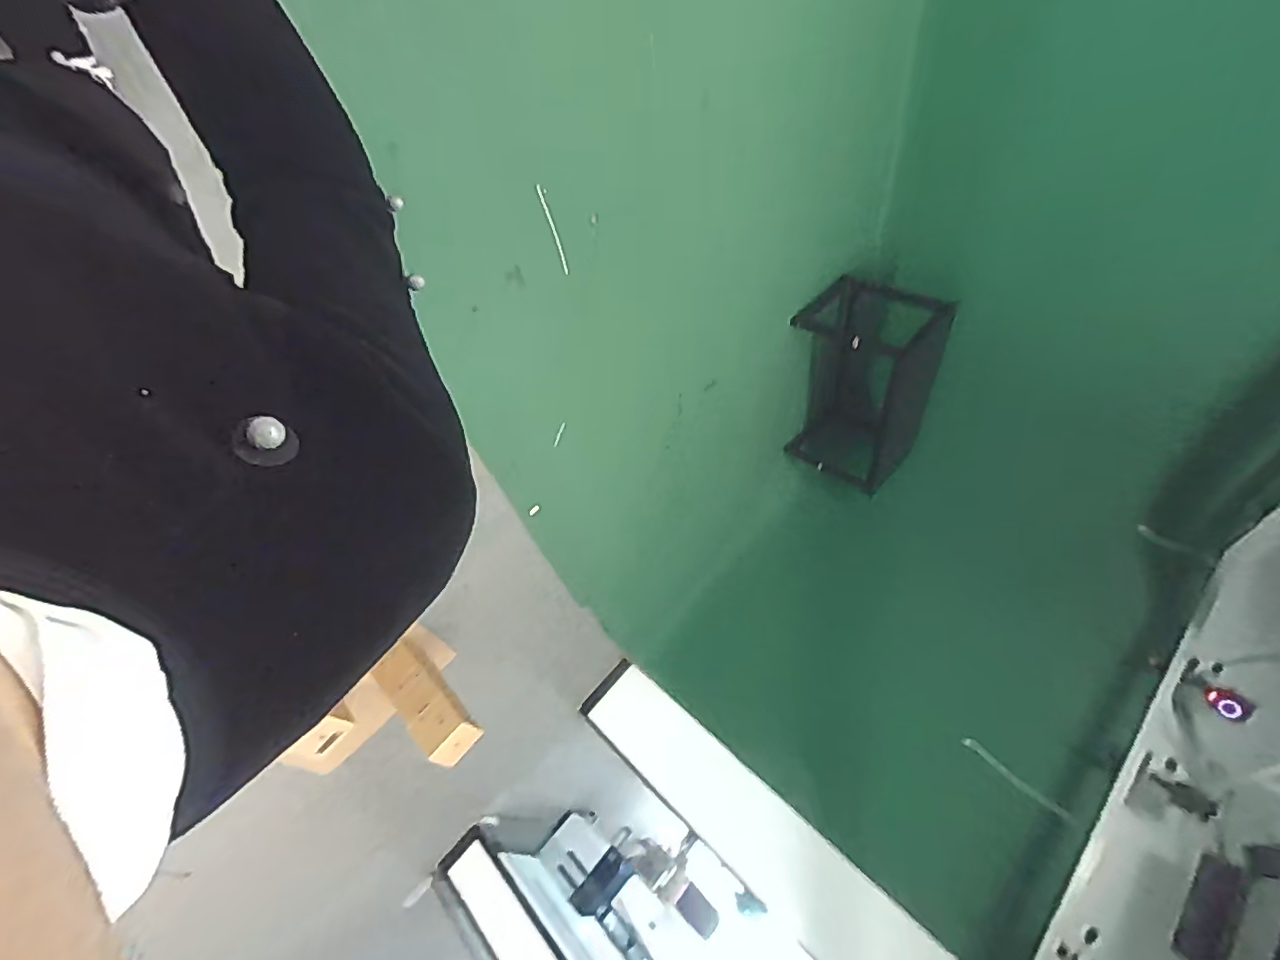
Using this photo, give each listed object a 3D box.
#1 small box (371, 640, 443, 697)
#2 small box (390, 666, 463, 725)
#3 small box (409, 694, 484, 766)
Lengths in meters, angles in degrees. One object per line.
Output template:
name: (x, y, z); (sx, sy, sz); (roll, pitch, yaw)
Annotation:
small box: (-0.956, 0.786, 2.215); (0.168, 0.176, 0.179); (-48, 145, -14)
small box: (-0.842, 0.860, 2.126); (0.168, 0.176, 0.179); (-46, 146, -17)
small box: (-0.731, 0.938, 2.036); (0.168, 0.176, 0.179); (-46, 146, -17)
